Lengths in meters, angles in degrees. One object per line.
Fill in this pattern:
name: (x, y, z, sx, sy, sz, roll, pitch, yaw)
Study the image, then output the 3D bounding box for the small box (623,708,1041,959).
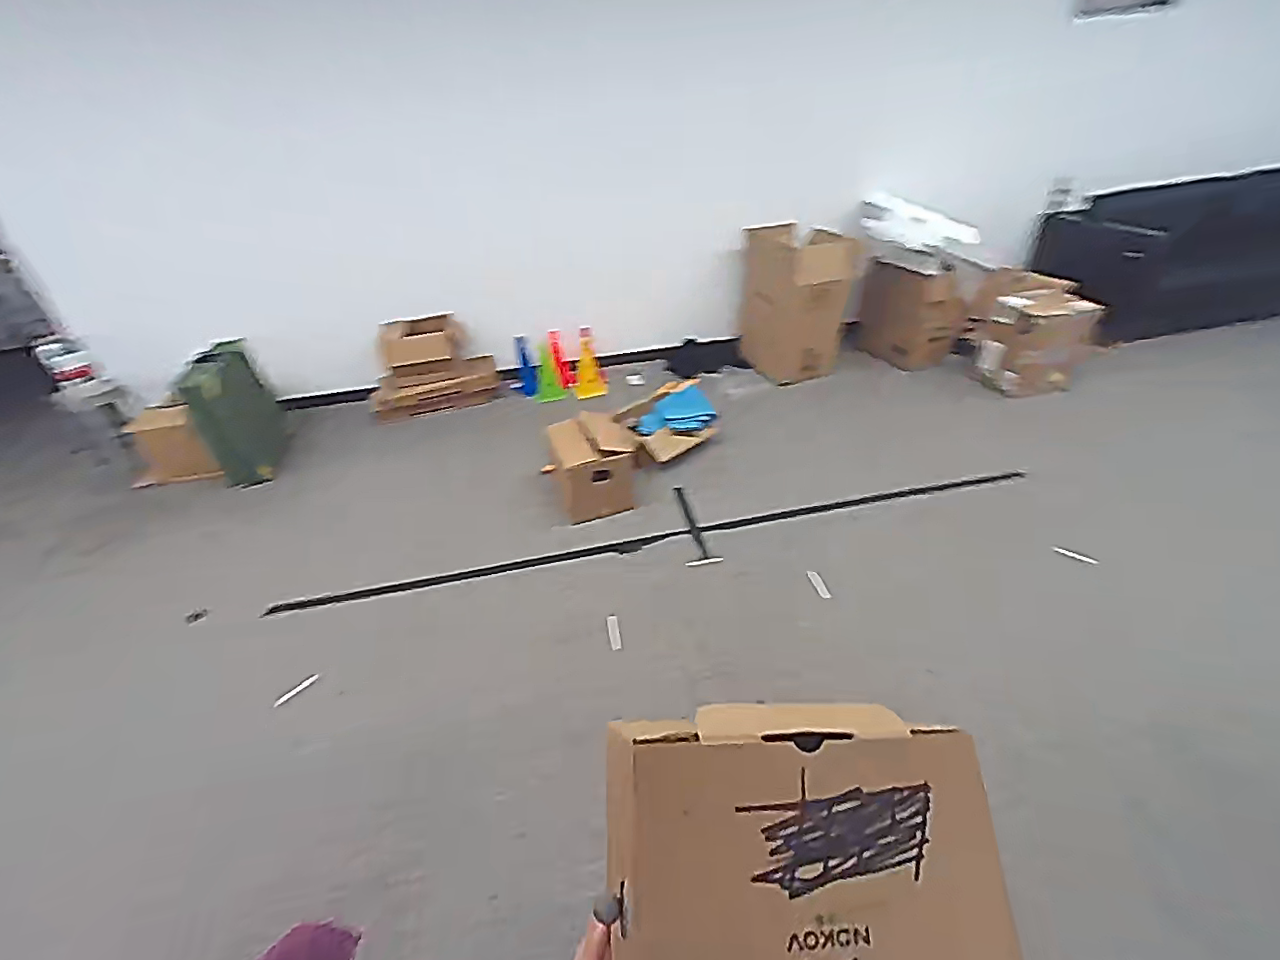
small box: (0.079, 0.223, 0.298, 0.168, 0.176, 0.179, 3, 67, -5)
